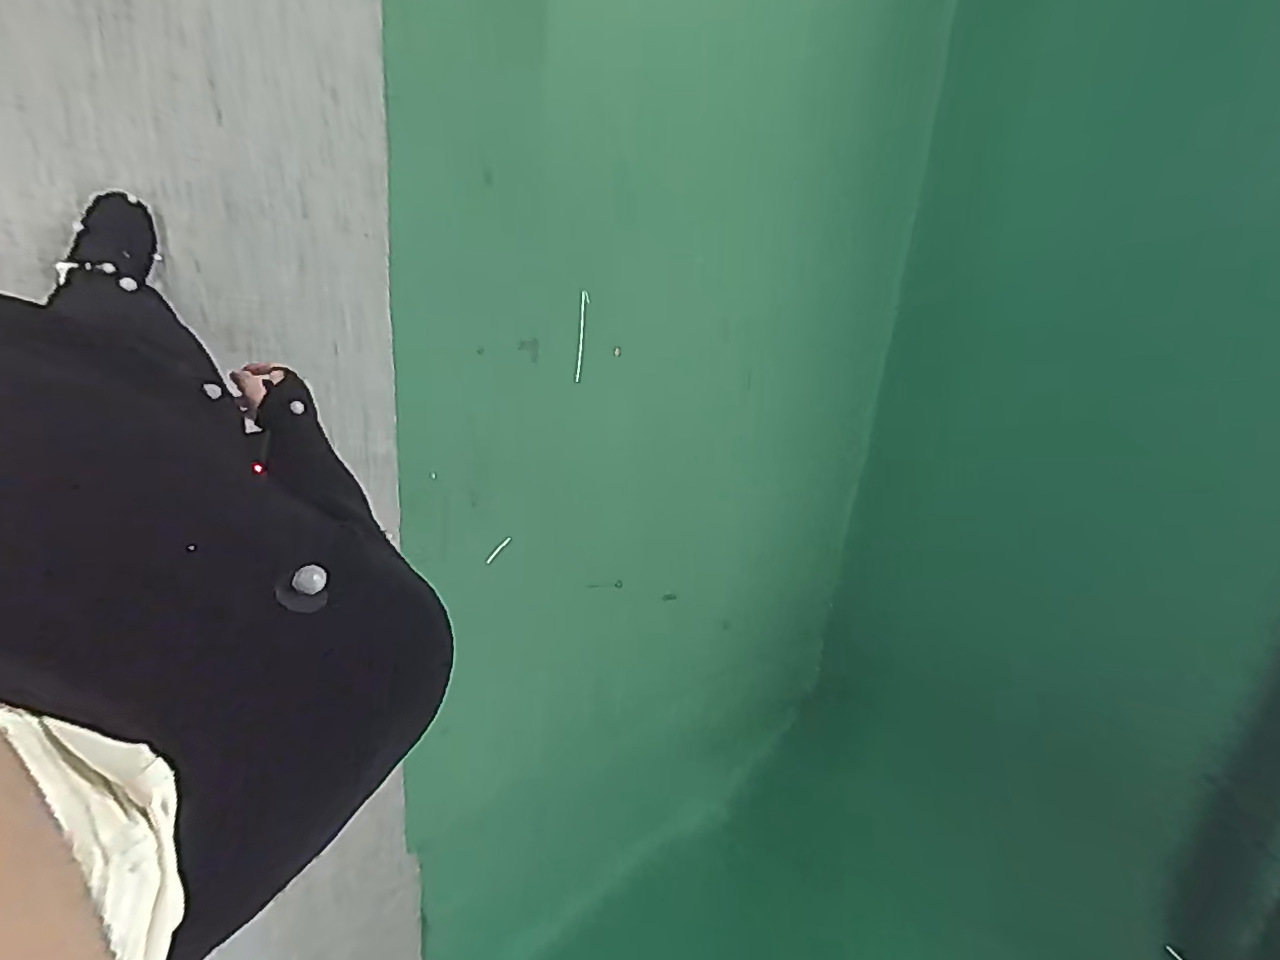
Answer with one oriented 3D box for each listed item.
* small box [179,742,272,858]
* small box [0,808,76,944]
[{"bbox_3d":[-1.111,0.844,1.448,0.179,0.176,0.168,-5,108,-44],"label":"small box"},{"bbox_3d":[-1.387,0.881,1.194,0.179,0.176,0.168,-9,111,-43],"label":"small box"}]
